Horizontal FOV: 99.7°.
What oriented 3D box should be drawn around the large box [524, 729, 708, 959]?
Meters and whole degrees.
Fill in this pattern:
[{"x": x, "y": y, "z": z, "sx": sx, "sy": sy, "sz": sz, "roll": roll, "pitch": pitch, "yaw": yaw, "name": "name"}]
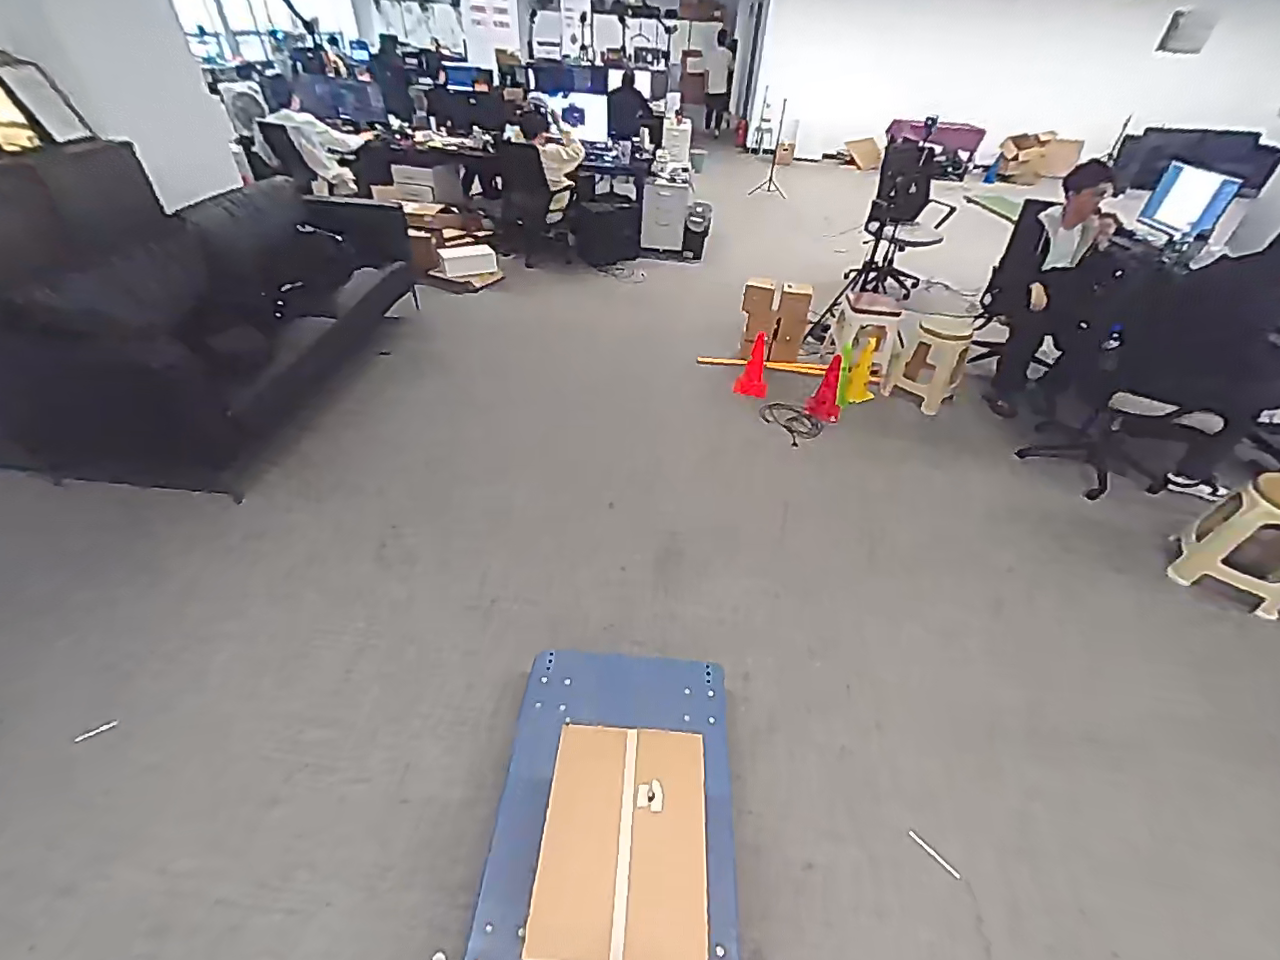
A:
[{"x": -0.040, "y": 0.799, "z": 1.132, "sx": 0.320, "sy": 0.320, "sz": 0.408, "roll": 4, "pitch": 38, "yaw": 0, "name": "large box"}]
